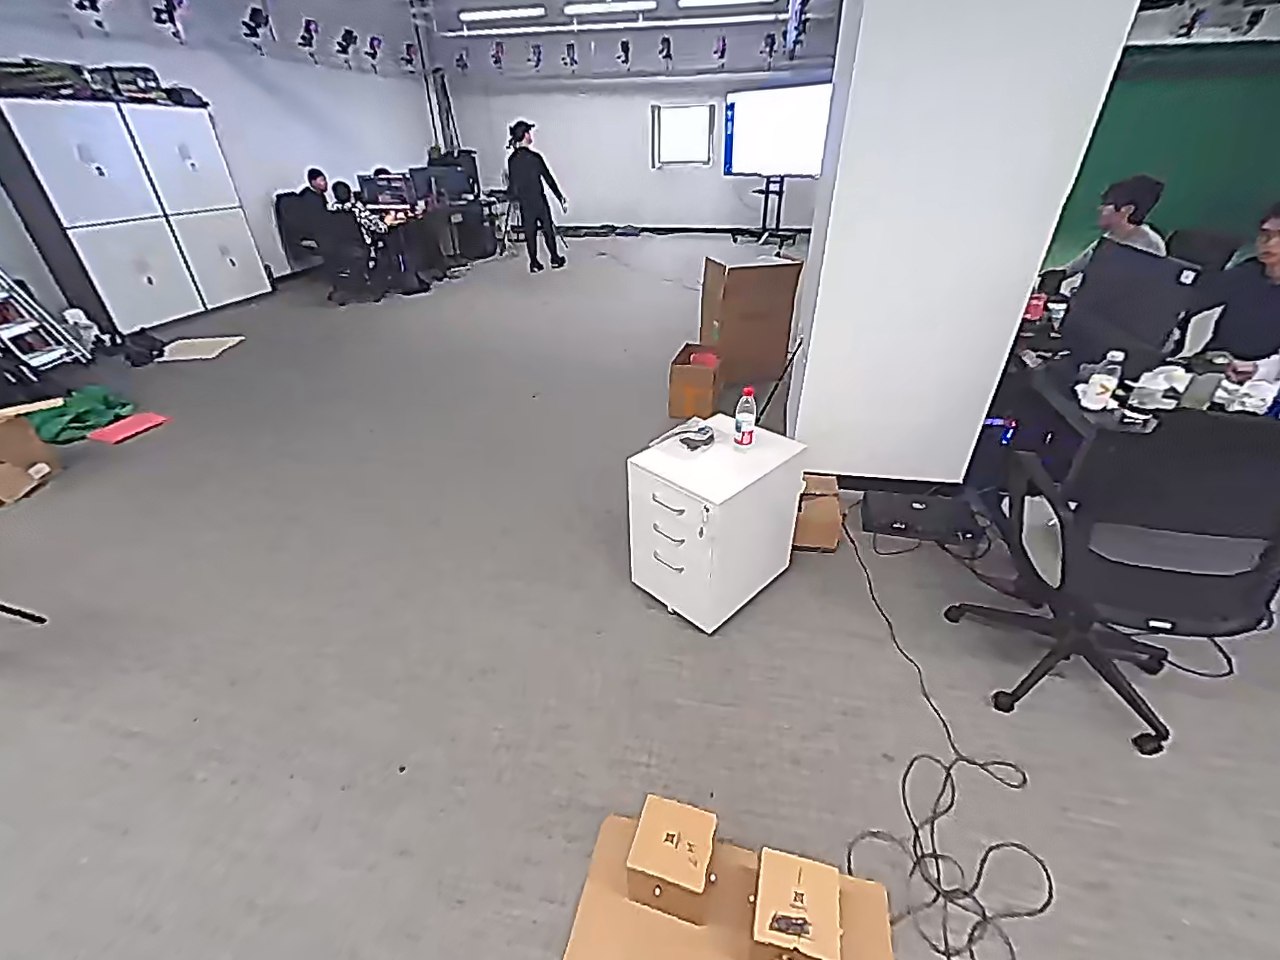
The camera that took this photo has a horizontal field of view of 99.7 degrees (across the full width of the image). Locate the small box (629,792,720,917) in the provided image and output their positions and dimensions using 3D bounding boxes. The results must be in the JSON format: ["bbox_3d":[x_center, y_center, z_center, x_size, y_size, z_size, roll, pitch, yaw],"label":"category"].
[{"bbox_3d":[0.085,0.883,1.276,0.179,0.176,0.168,9,34,17],"label":"small box"}]

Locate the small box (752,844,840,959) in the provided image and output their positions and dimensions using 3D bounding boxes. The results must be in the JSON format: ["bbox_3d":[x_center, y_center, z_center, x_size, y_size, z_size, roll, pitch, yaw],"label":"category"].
[{"bbox_3d":[0.338,0.944,1.172,0.168,0.176,0.179,7,33,16],"label":"small box"}]
